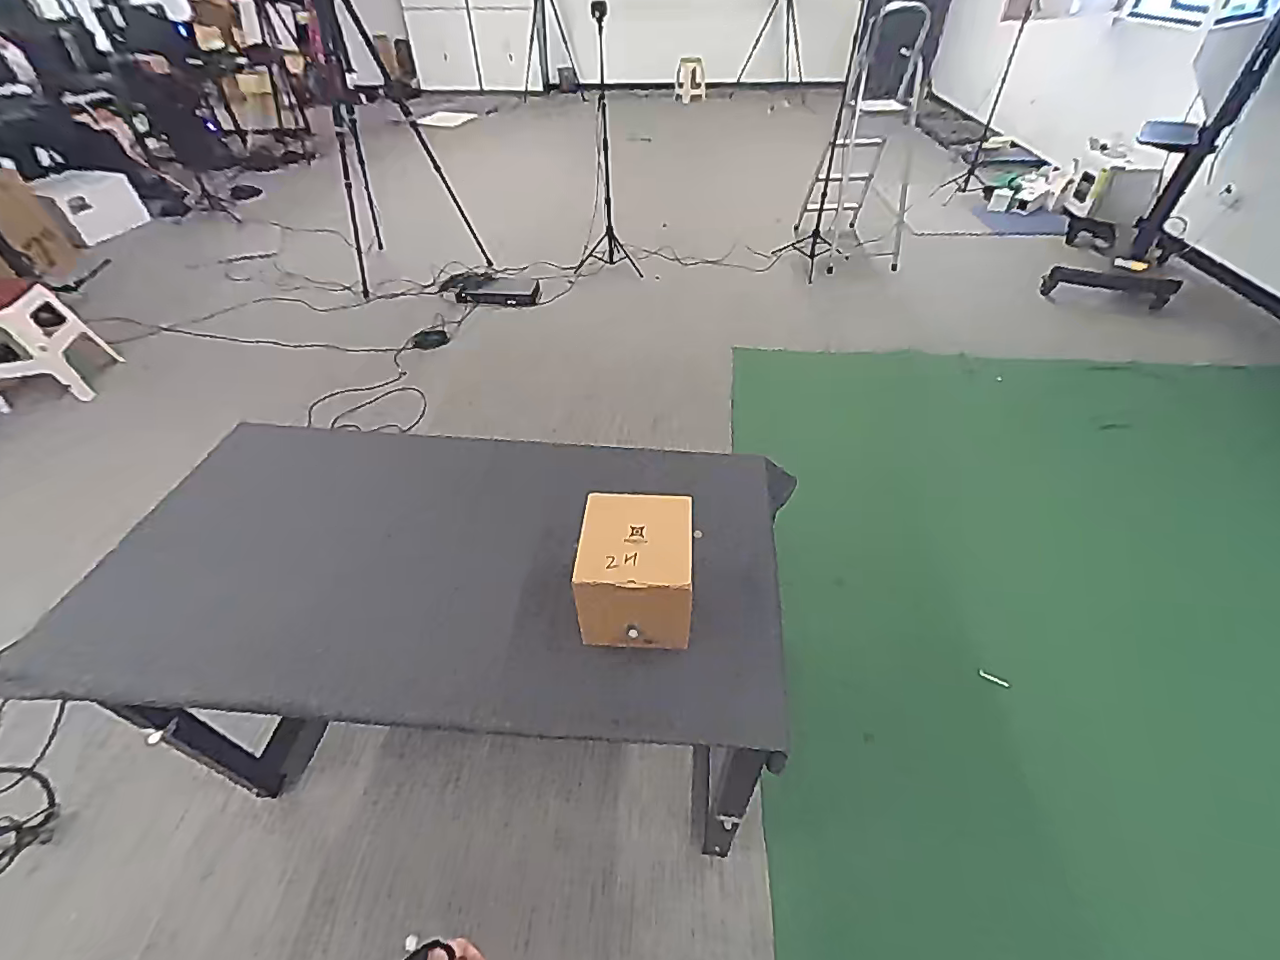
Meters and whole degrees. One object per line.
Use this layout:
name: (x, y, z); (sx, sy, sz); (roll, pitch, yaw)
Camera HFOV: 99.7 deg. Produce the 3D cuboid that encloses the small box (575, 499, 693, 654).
small box: (-0.001, 0.150, 0.854); (0.168, 0.176, 0.179); (1, 44, 5)
